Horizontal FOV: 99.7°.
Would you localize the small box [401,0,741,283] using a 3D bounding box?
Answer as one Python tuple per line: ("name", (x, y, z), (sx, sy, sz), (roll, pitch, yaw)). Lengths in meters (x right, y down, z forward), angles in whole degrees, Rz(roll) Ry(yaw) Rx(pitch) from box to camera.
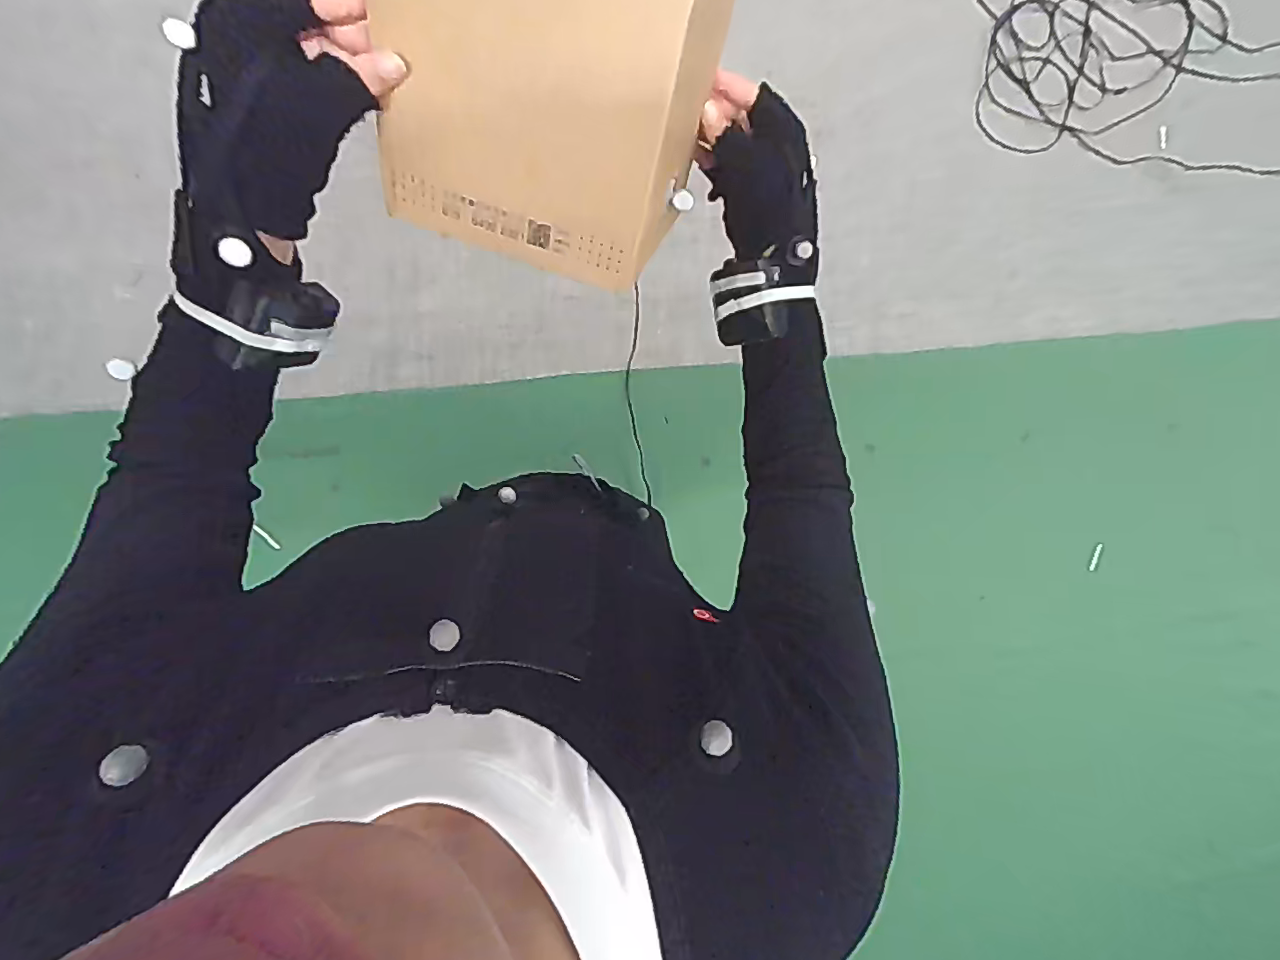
("small box", (-0.043, -0.260, 0.358), (0.168, 0.176, 0.179), (19, 43, 1))
